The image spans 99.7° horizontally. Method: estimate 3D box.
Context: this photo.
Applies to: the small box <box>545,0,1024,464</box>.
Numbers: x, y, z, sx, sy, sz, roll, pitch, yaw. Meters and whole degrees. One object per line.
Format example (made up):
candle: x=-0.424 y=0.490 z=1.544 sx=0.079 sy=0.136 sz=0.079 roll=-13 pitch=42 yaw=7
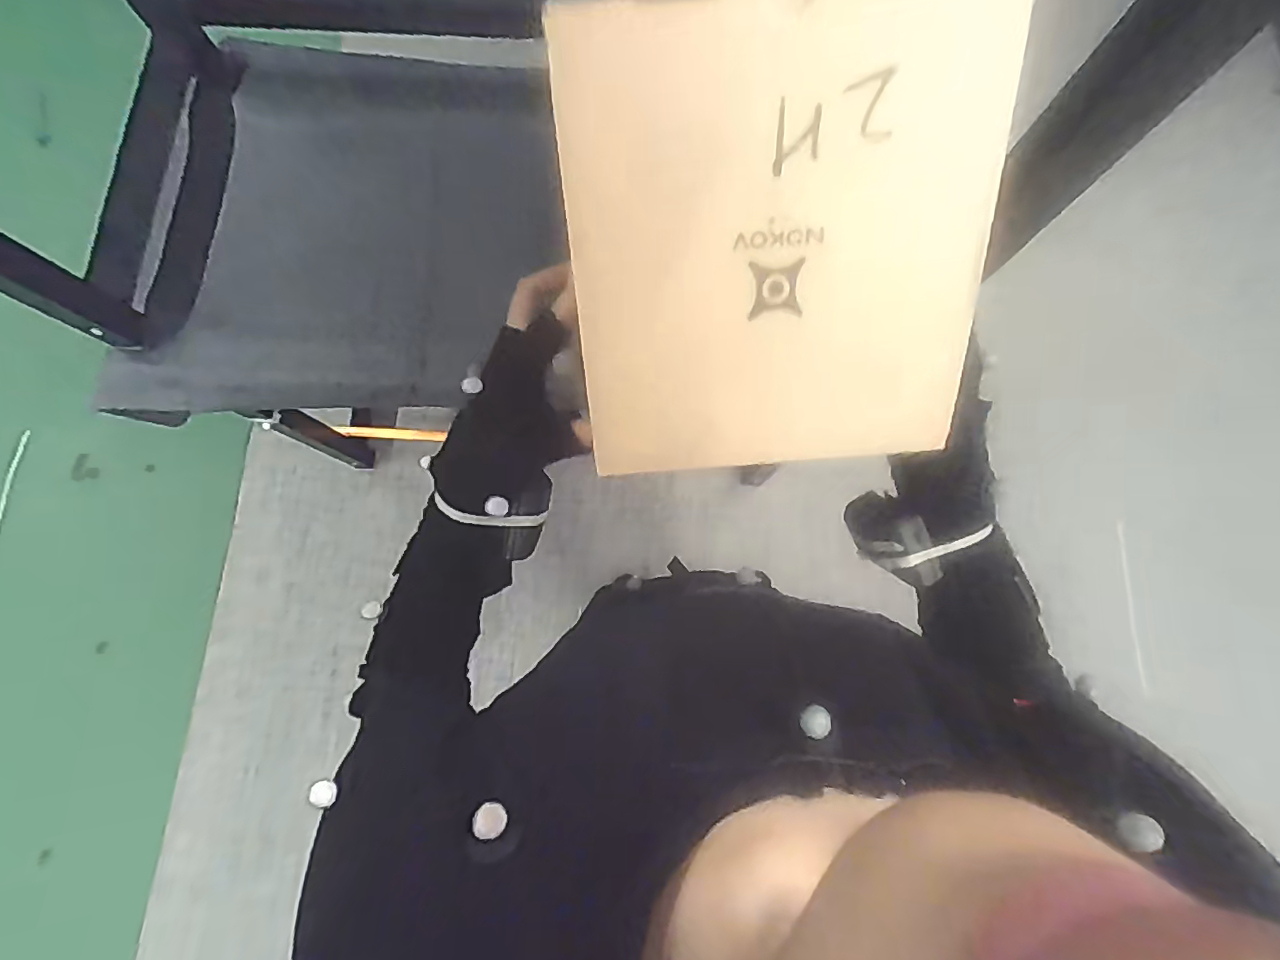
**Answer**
small box: x=0.051 y=-0.125 z=0.290 sx=0.168 sy=0.176 sz=0.179 roll=-4 pitch=117 yaw=-1
